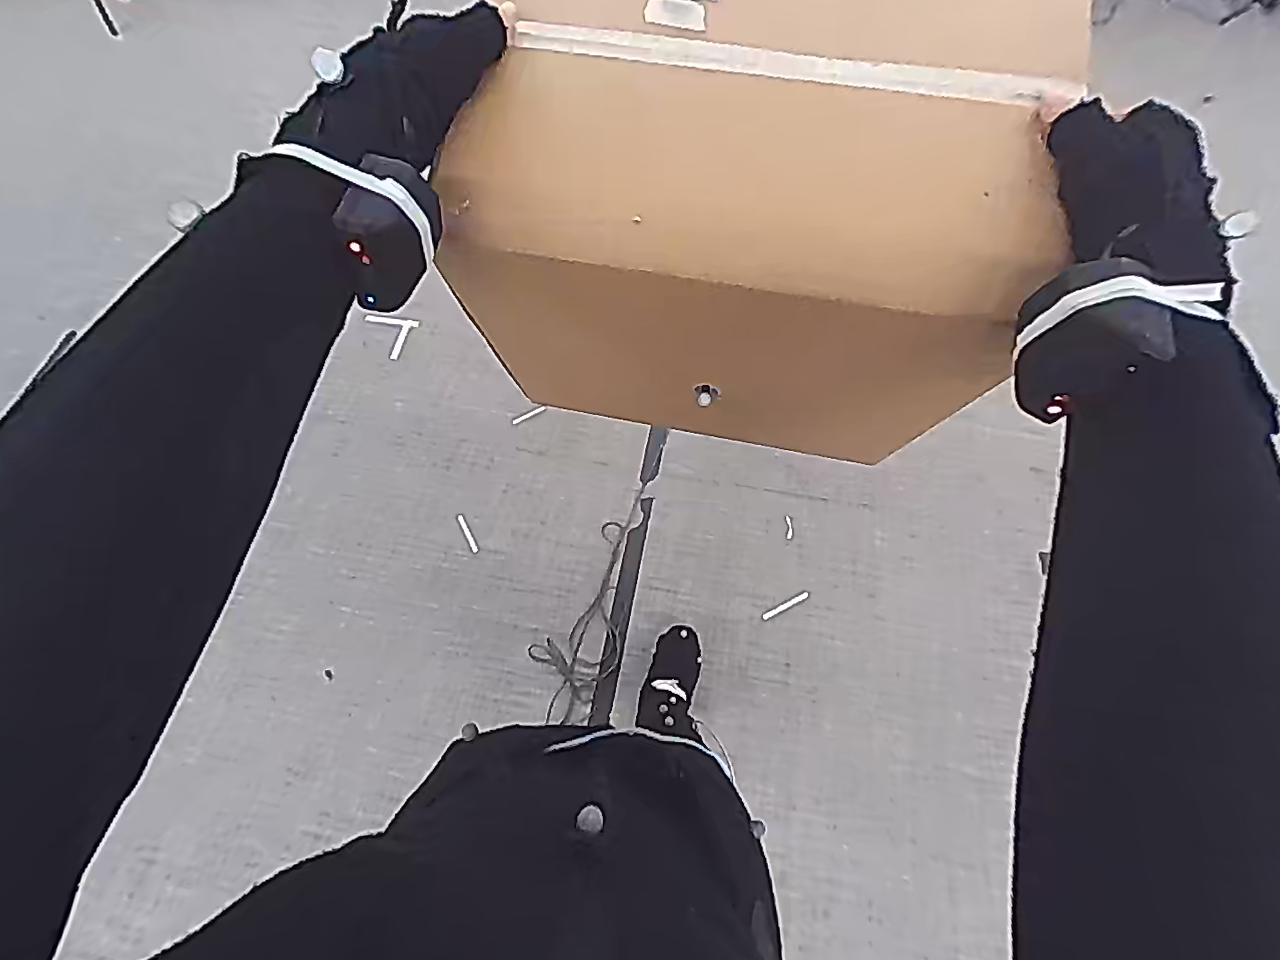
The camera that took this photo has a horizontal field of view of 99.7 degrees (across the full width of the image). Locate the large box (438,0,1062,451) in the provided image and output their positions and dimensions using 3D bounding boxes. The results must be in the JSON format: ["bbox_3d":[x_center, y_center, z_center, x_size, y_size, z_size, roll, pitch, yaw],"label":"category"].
[{"bbox_3d":[0.093,-0.238,0.526,0.408,0.320,0.320,11,77,6],"label":"large box"}]
